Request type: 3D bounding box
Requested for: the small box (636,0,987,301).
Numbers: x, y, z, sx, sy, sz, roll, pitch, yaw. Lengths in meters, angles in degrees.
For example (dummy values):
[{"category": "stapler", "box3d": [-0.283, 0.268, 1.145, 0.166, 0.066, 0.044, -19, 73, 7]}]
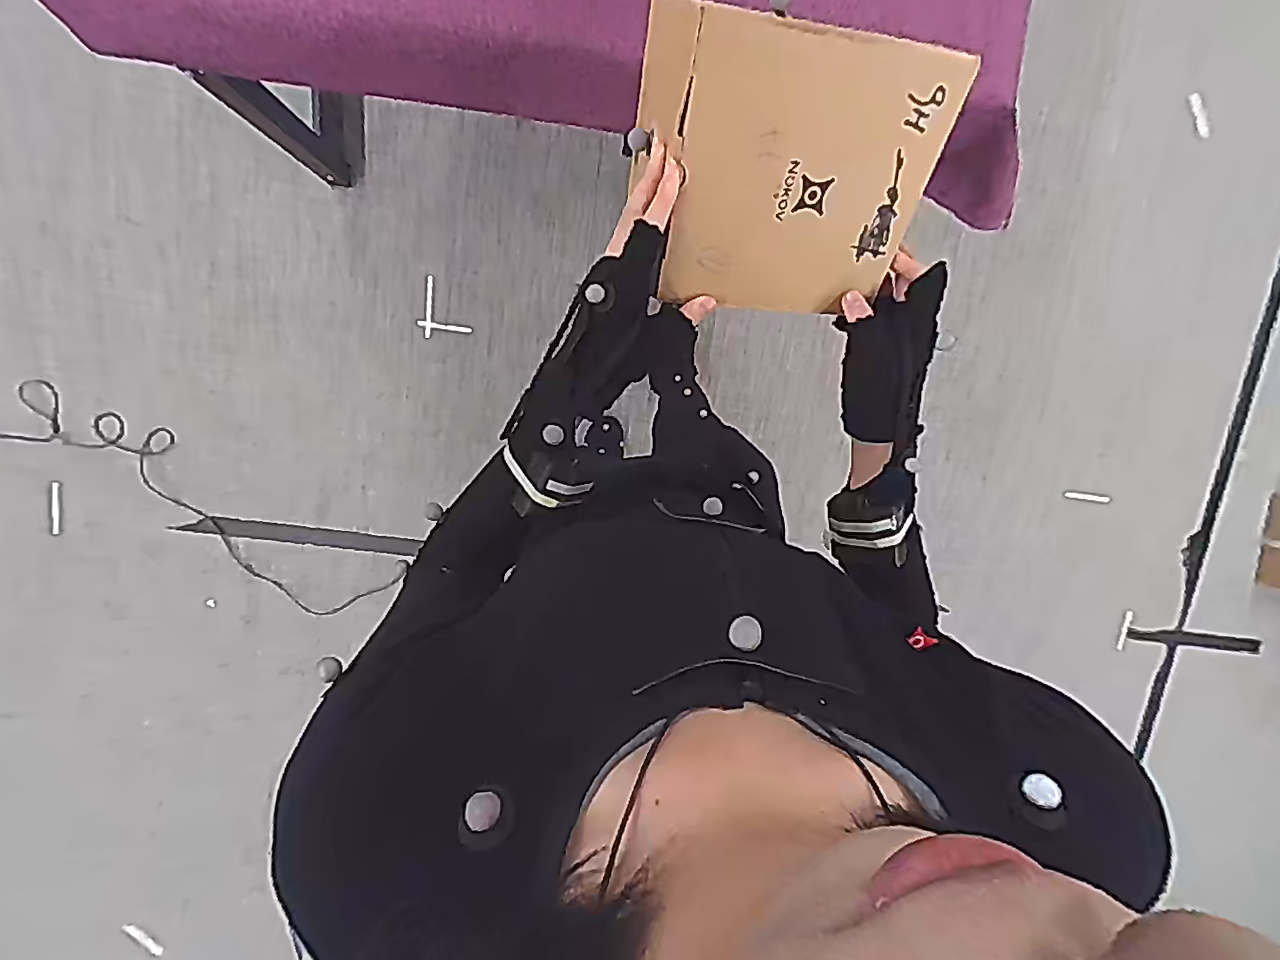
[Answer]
[{"category": "small box", "box3d": [0.097, -0.254, 0.408, 0.179, 0.176, 0.168, 1, 132, -11]}]
